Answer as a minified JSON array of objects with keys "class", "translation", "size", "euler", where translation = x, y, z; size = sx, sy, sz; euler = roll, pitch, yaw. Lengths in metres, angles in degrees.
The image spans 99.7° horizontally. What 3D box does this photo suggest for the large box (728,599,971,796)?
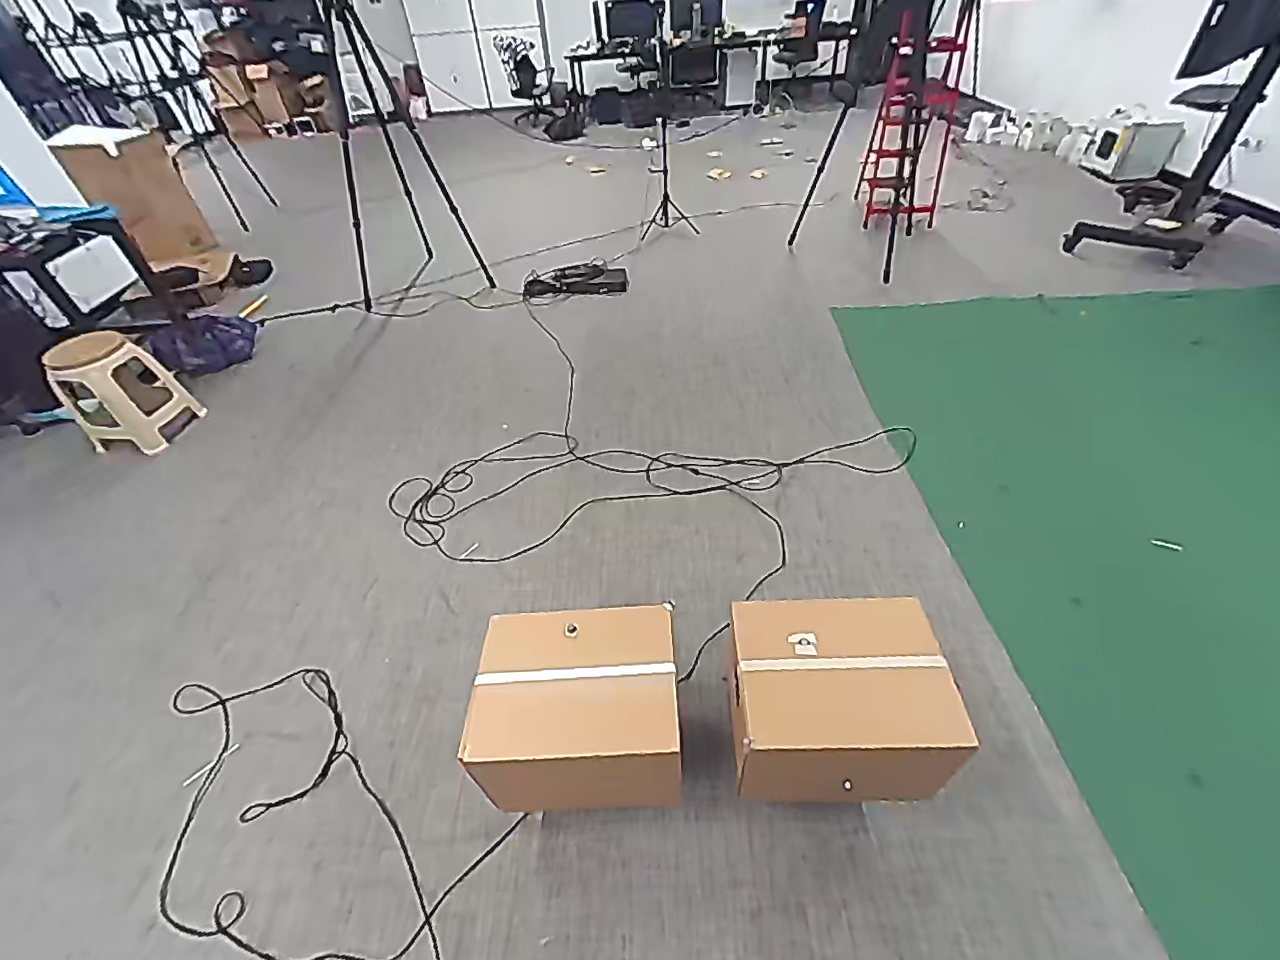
[{"class":"large box","translation":[0.413,0.482,1.187],"size":[0.408,0.320,0.320],"euler":[-2,44,4]}]
